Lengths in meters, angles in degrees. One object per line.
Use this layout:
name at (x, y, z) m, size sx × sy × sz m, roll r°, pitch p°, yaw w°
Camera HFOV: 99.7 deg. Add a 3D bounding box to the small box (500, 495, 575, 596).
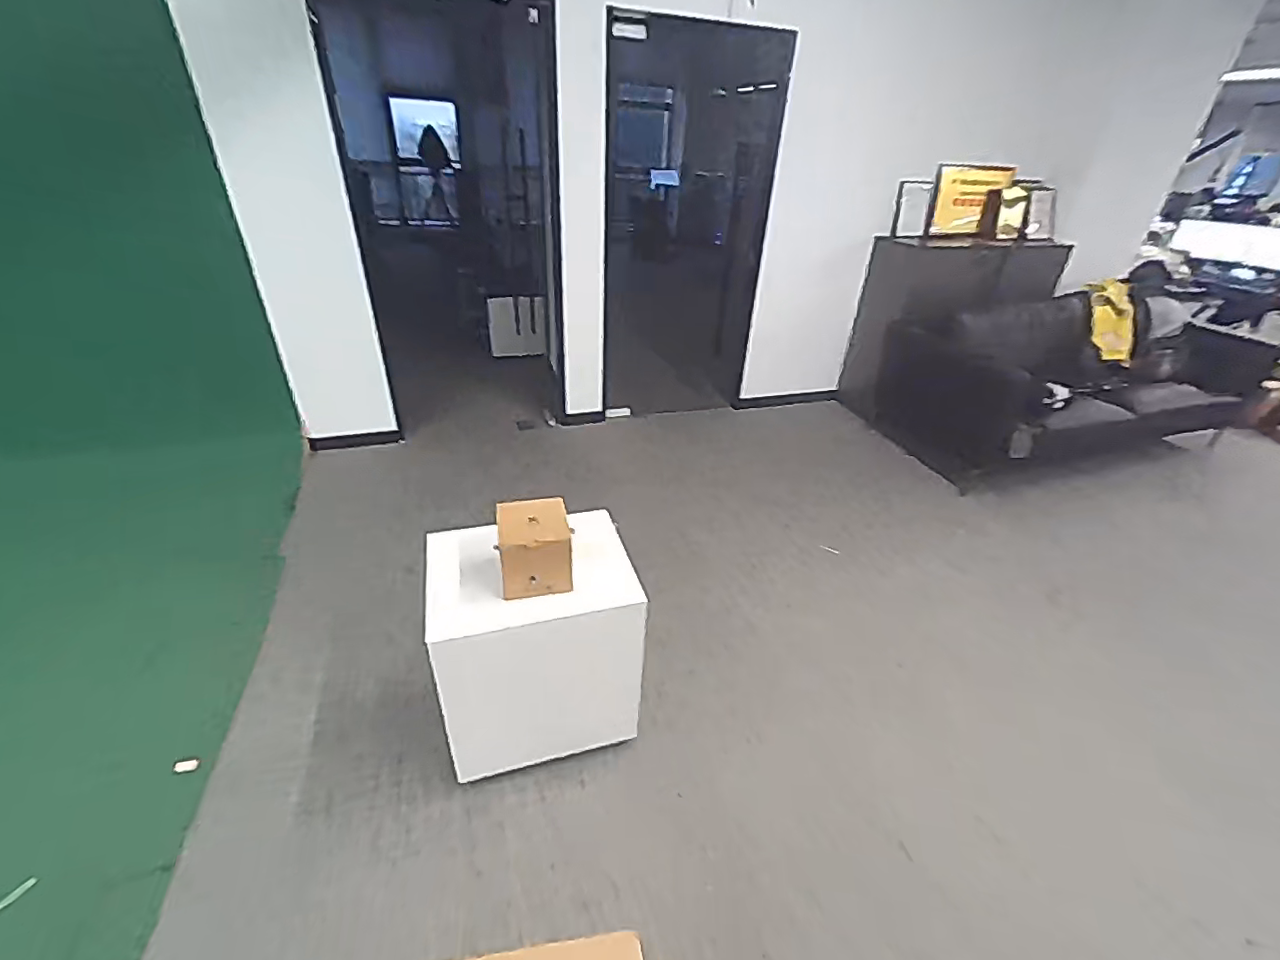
small box at (-0.253, 0.158, 1.330) m, size 0.168 × 0.176 × 0.179 m, roll -6°, pitch 33°, yaw -14°
